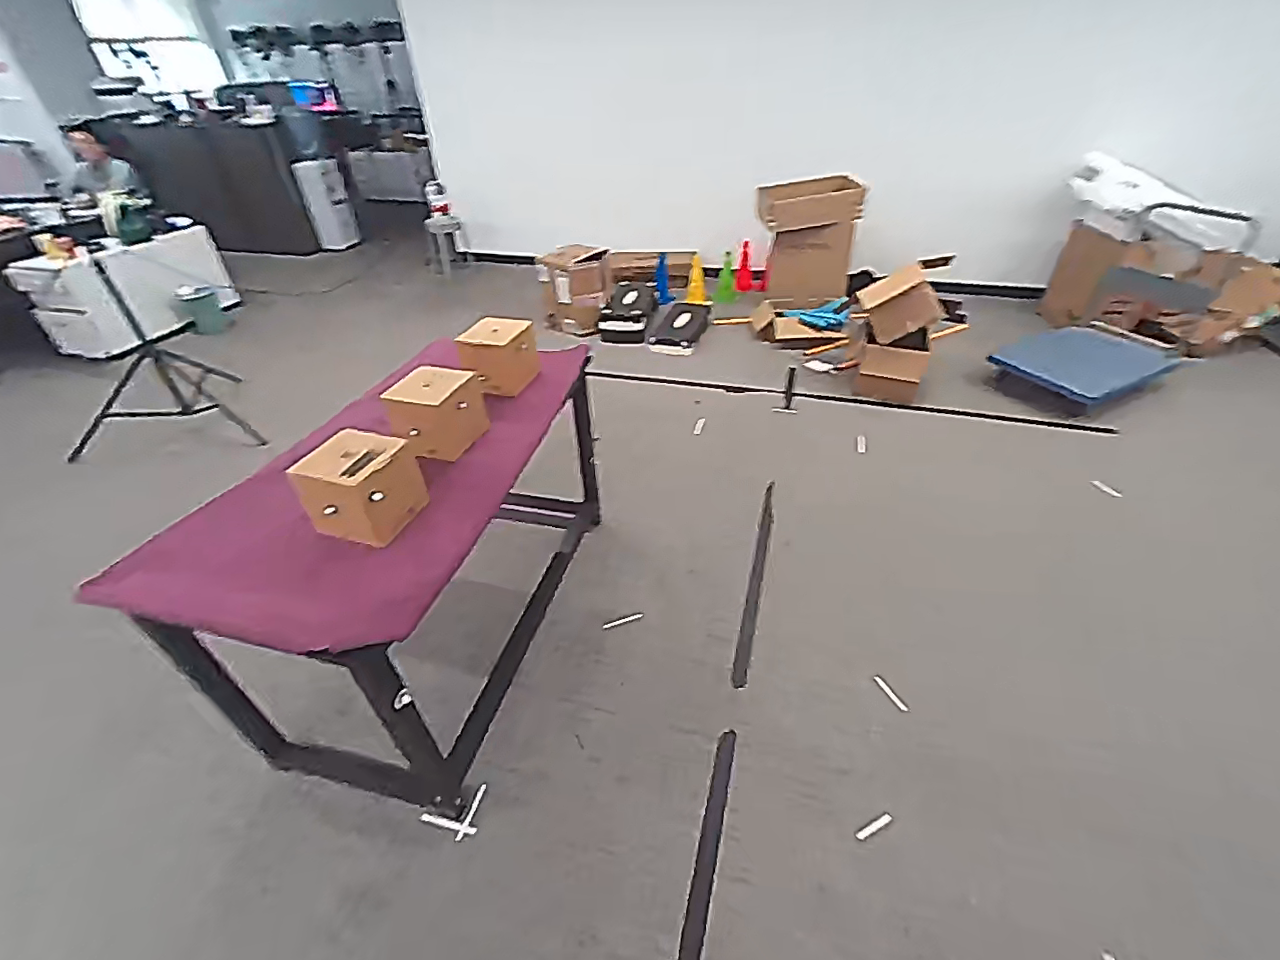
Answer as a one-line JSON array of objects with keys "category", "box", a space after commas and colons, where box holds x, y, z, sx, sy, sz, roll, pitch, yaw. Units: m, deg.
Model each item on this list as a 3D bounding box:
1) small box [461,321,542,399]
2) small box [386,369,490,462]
[{"category": "small box", "box": [-0.413, -0.367, 1.646, 0.168, 0.176, 0.179, 9, 40, 16]}, {"category": "small box", "box": [-0.509, -0.167, 1.394, 0.168, 0.176, 0.179, 10, 39, 15]}]
